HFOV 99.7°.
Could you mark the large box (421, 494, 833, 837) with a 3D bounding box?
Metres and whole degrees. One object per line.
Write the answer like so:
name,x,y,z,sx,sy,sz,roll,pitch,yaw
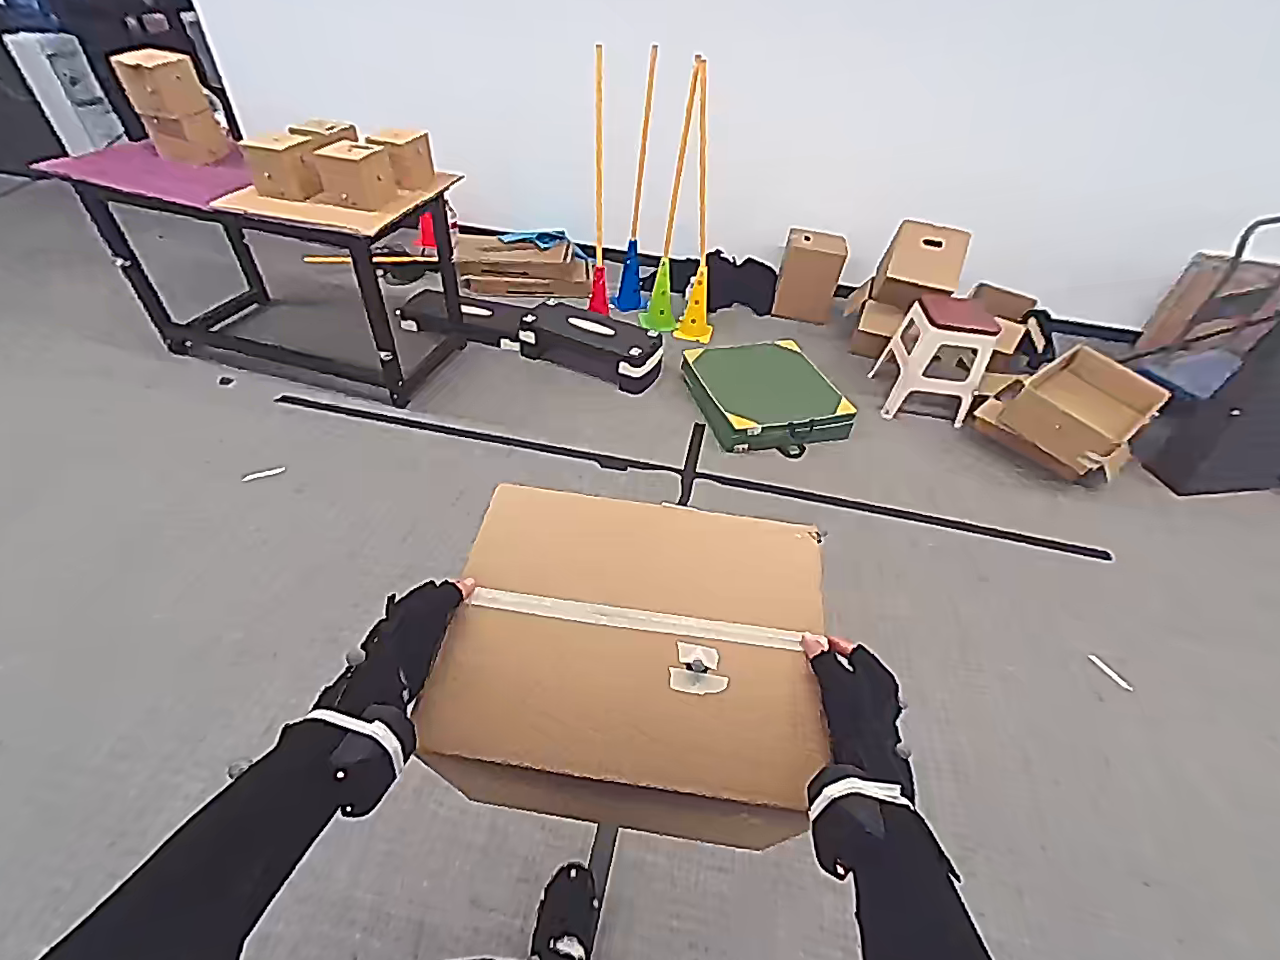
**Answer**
large box,-0.008,0.251,0.718,0.408,0.320,0.320,8,51,2
